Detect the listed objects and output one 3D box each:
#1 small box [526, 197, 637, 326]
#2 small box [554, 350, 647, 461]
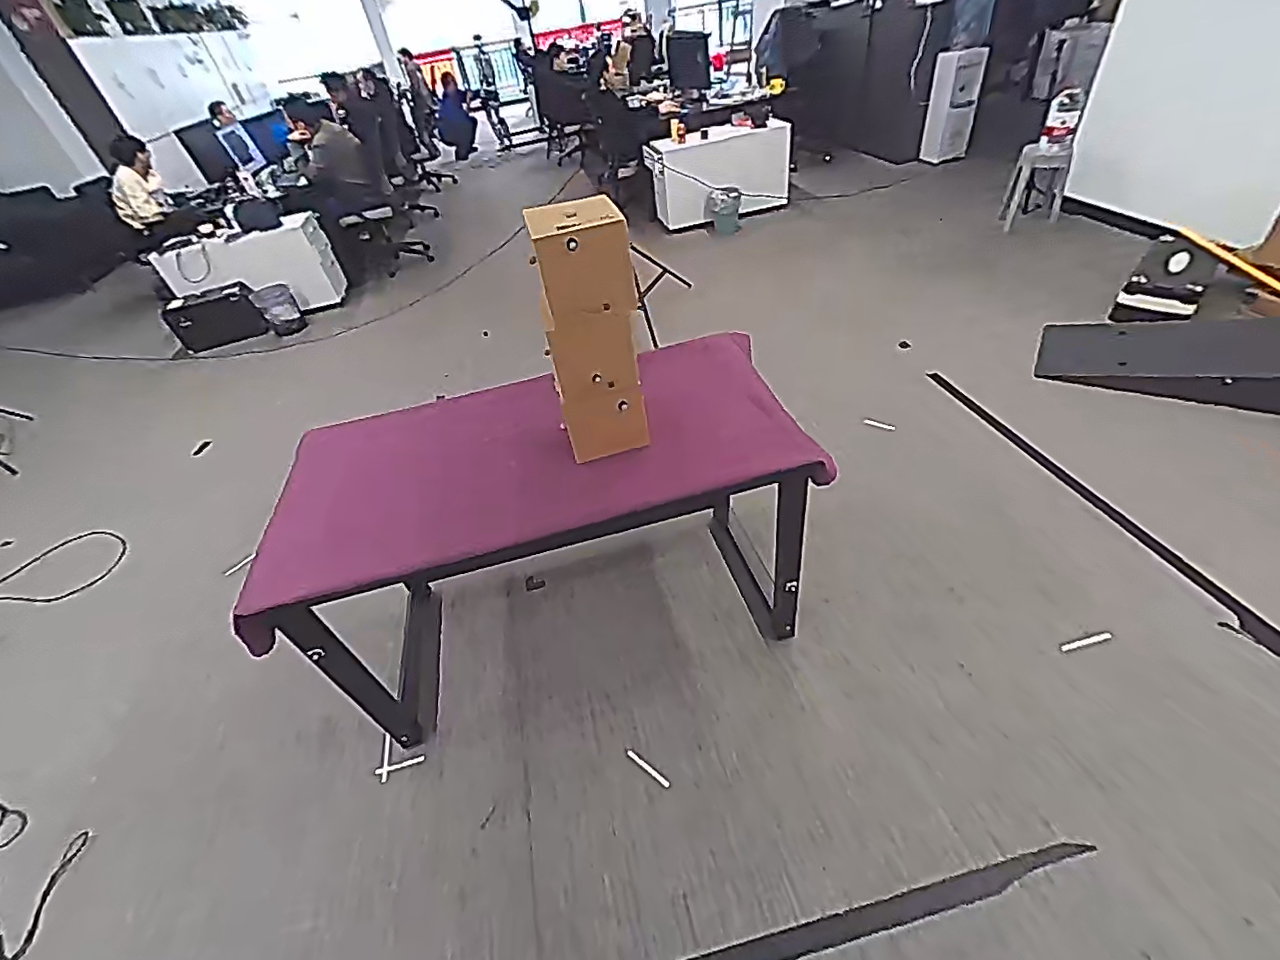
[{"bbox_3d":[-0.112,-0.416,1.031,0.168,0.176,0.179,-16,42,-6],"label":"small box"},{"bbox_3d":[-0.086,-0.170,1.247,0.179,0.176,0.168,-16,41,-5],"label":"small box"}]
